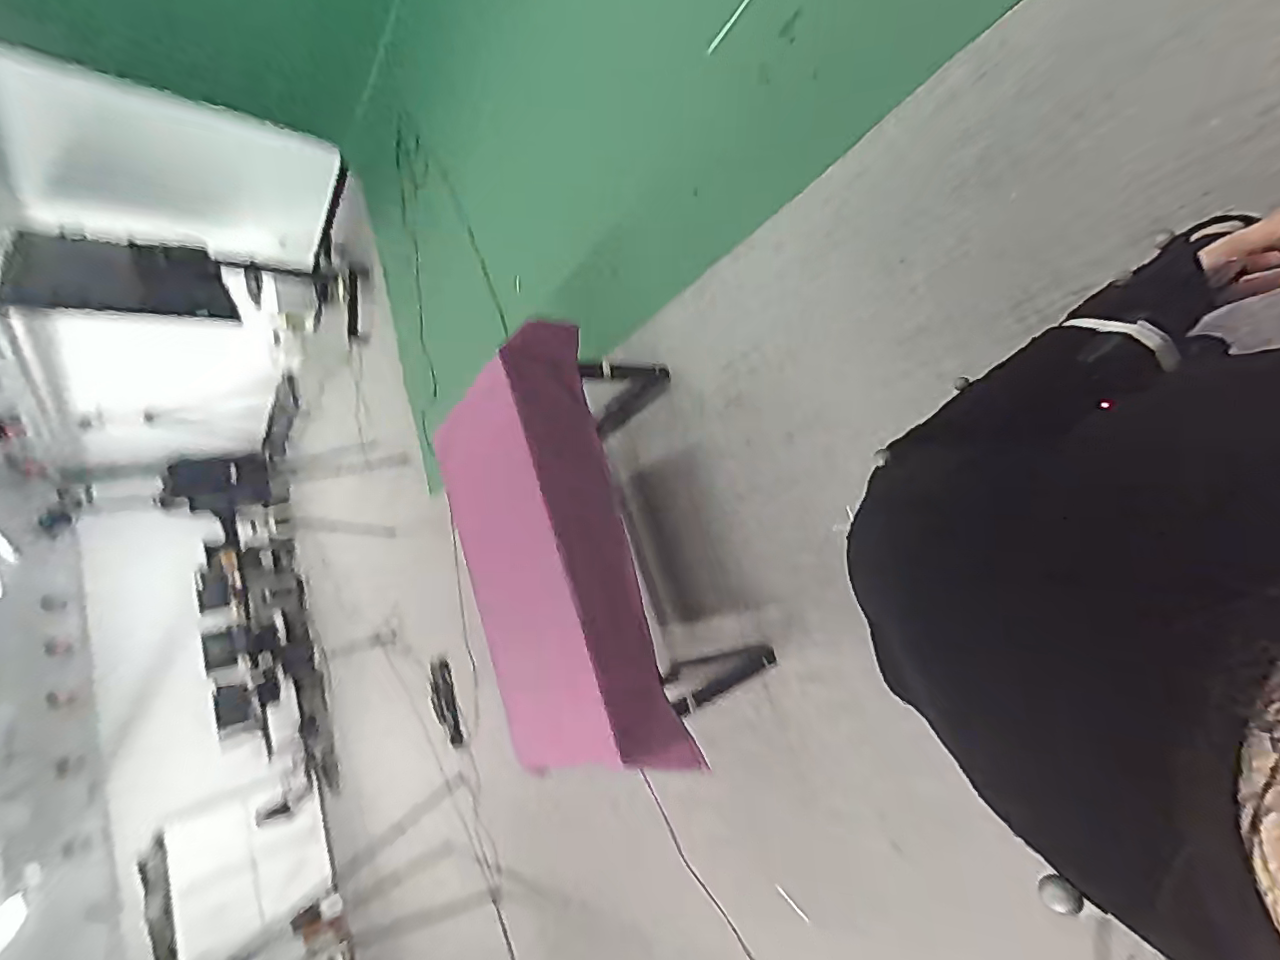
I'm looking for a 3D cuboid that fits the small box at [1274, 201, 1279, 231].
[{"bbox_3d":[0.537,-0.241,0.319,0.168,0.176,0.179,25,108,38],"label":"small box"}]
